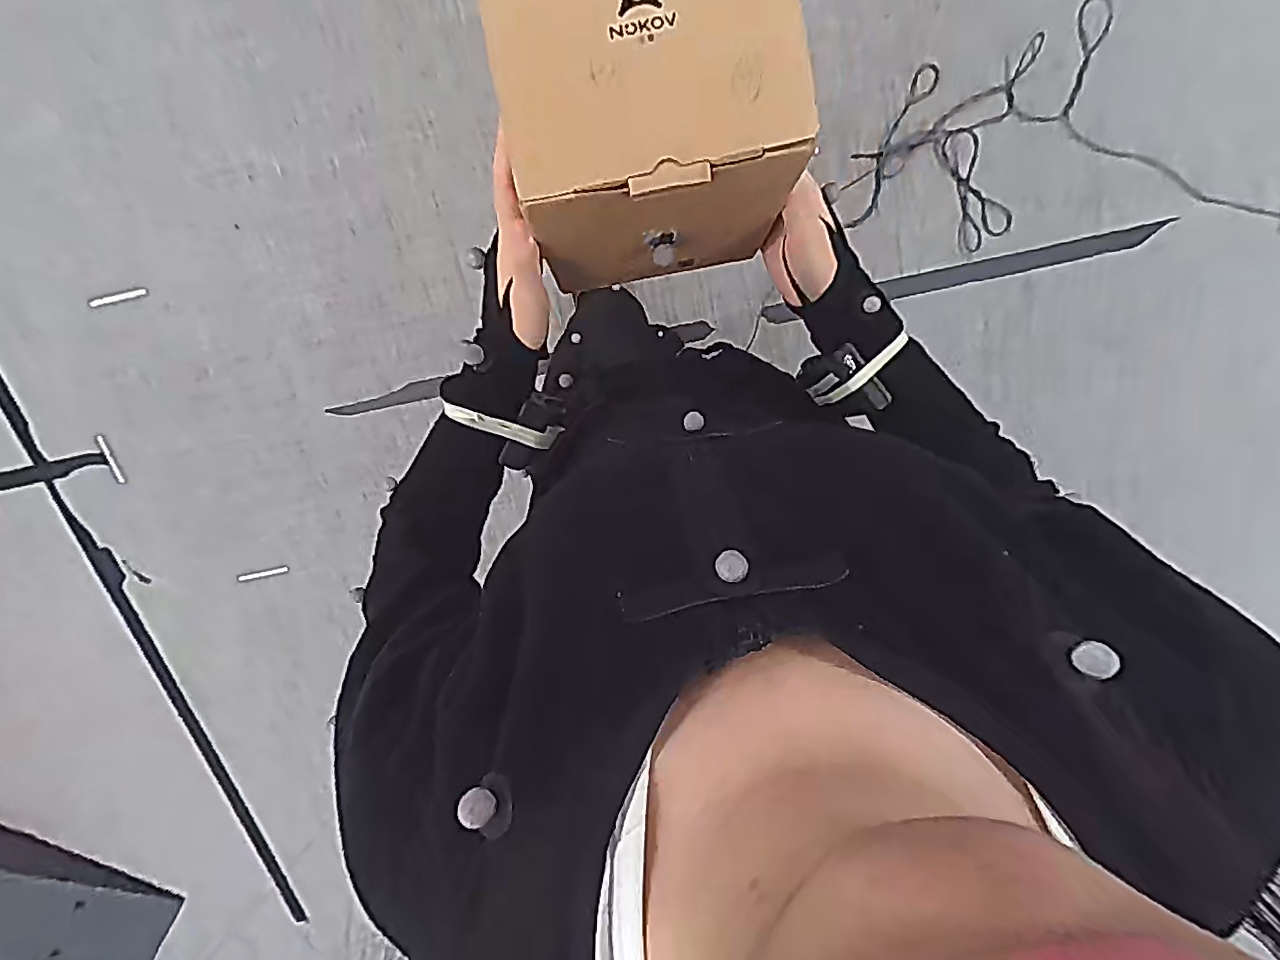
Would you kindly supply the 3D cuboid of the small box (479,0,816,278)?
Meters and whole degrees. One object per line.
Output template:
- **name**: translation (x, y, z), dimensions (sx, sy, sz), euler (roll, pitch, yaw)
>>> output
- **small box**: translation (0.000, -0.250, 0.362), dimensions (0.168, 0.176, 0.179), euler (-11, 94, 0)
